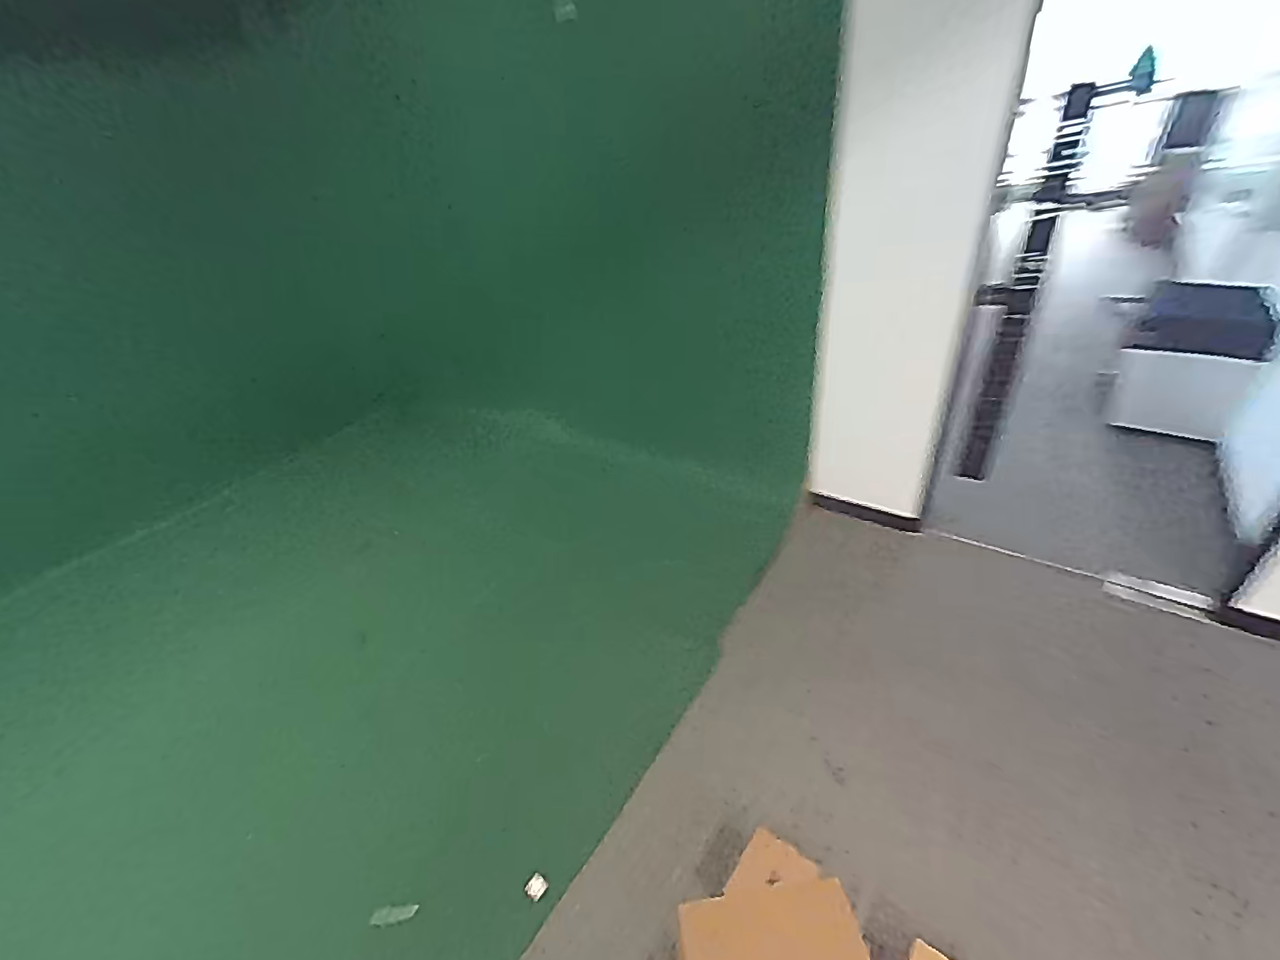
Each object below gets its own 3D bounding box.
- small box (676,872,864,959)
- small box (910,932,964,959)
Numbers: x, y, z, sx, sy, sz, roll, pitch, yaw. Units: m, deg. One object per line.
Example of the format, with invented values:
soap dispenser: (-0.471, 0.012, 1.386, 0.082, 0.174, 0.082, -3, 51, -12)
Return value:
small box: (0.128, 0.518, 0.512, 0.168, 0.176, 0.179, -7, 33, -4)
small box: (0.621, 1.087, 1.093, 0.168, 0.176, 0.179, 20, 45, 34)
